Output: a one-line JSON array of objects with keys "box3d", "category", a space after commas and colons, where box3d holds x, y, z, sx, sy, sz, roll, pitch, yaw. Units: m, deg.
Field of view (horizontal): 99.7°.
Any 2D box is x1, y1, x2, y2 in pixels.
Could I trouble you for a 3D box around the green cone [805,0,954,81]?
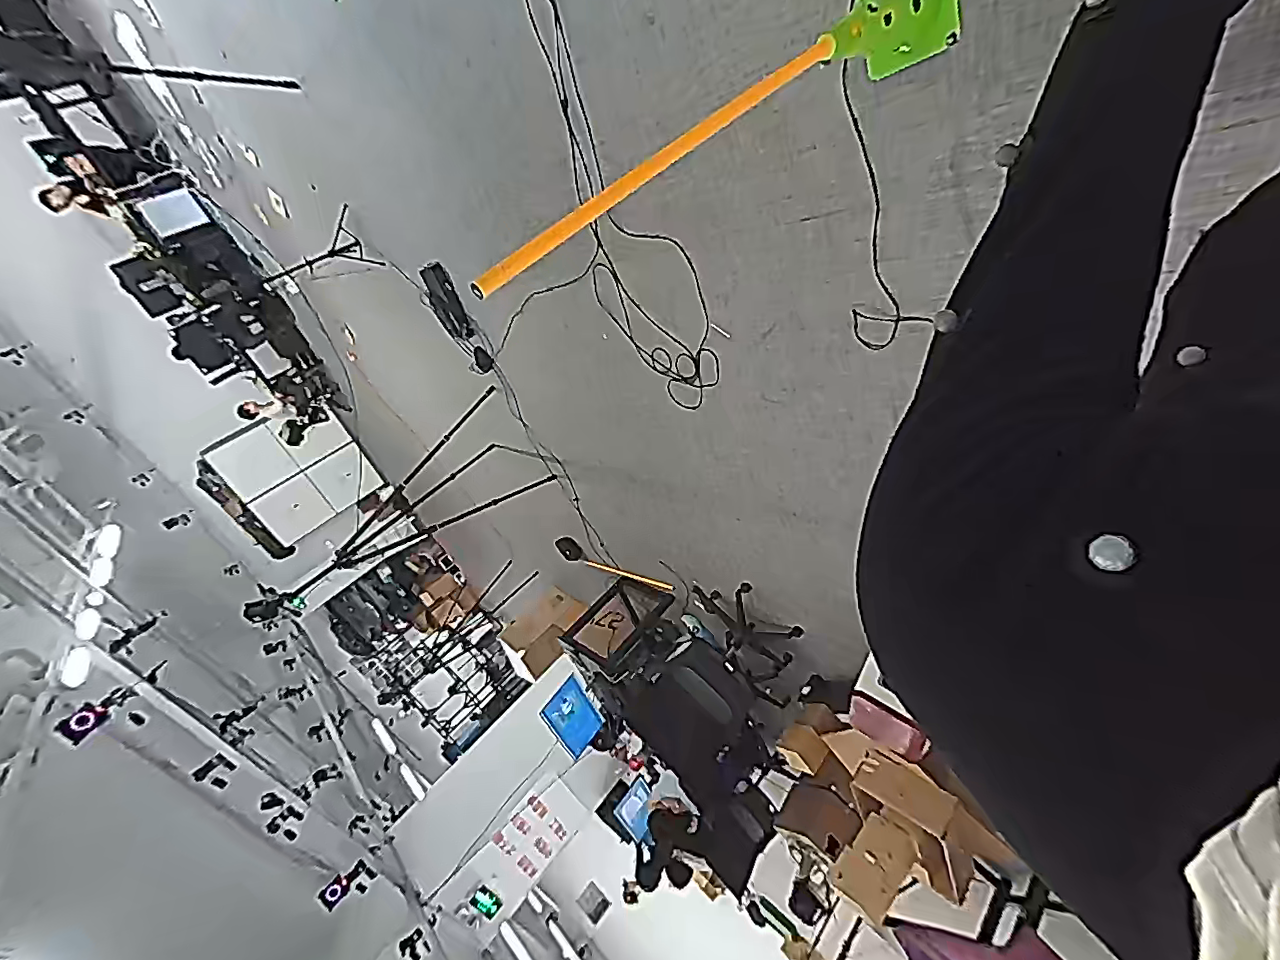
[{"box3d": [0.453, -0.917, 1.099, 0.202, 0.368, 0.200, 11, 135, 51], "category": "green cone"}]
